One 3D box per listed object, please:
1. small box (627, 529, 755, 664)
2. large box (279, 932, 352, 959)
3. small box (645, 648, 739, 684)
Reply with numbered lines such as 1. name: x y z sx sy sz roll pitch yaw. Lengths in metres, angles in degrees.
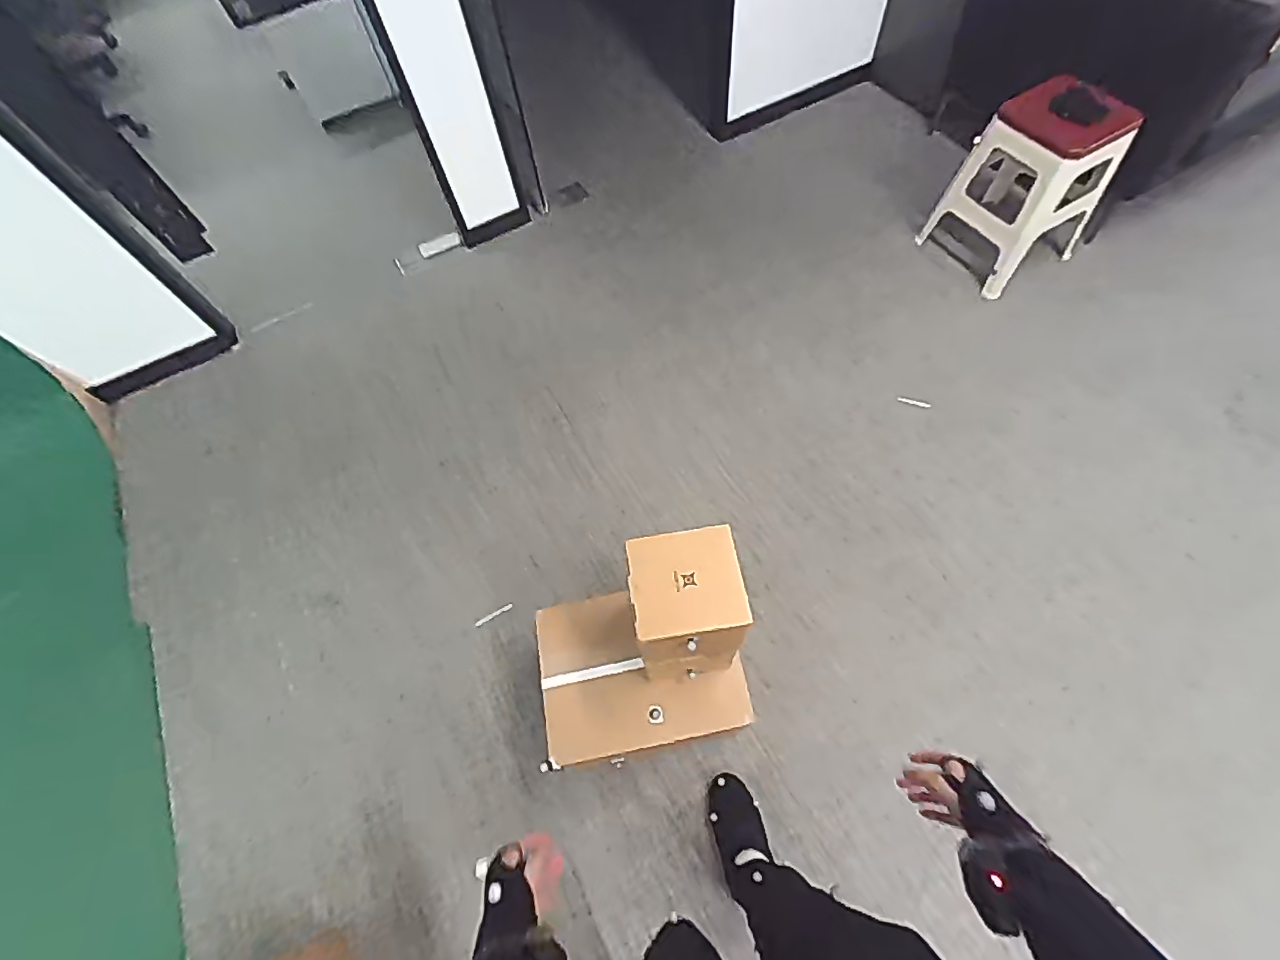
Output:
1. small box: 0.080 0.199 0.902 0.179 0.176 0.168 -9 60 1
2. large box: -0.708 1.130 0.938 0.408 0.320 0.320 -41 66 -14
3. small box: 0.084 0.279 1.043 0.168 0.176 0.179 -11 60 0
